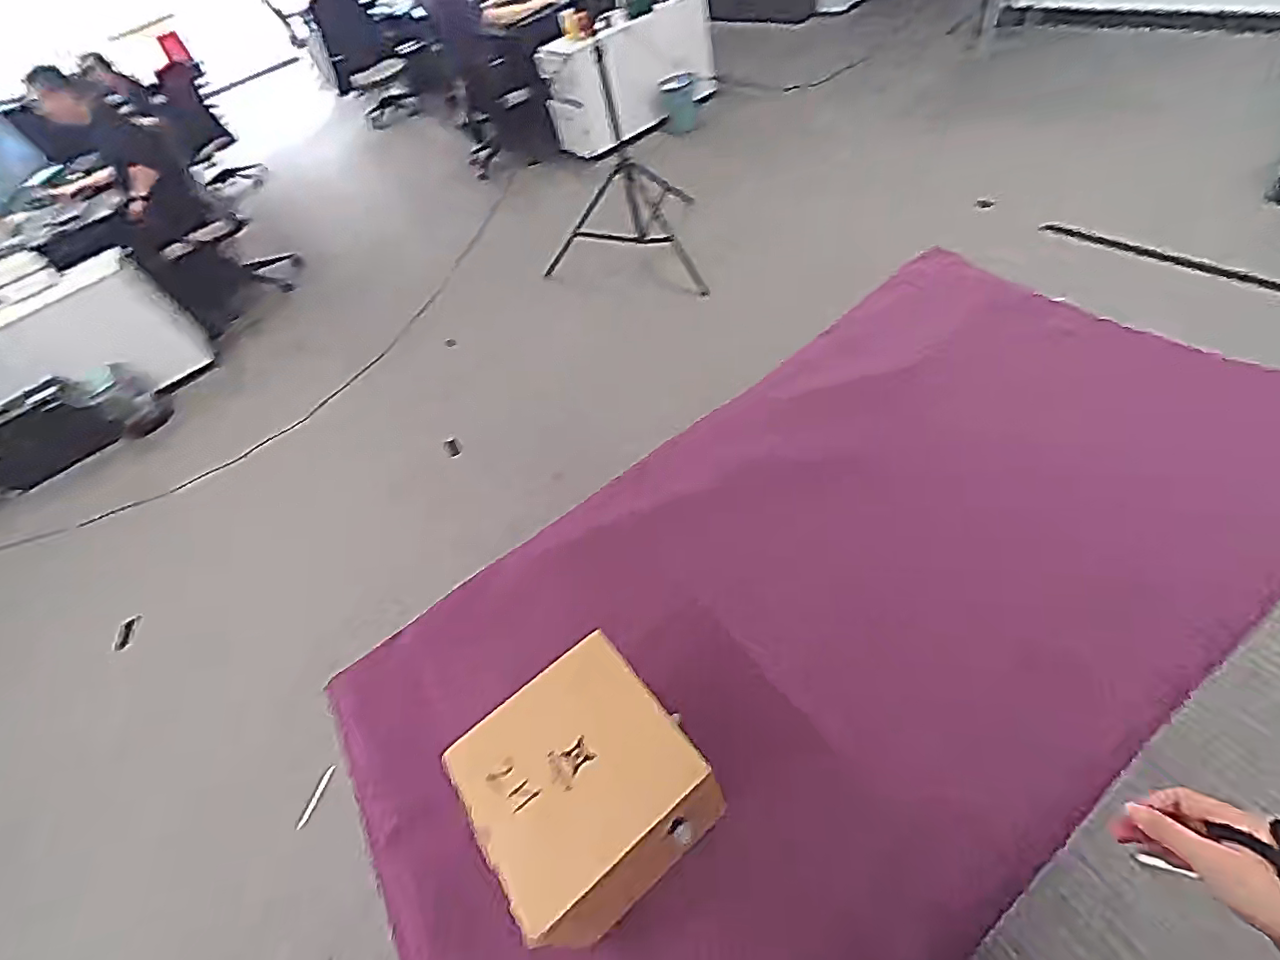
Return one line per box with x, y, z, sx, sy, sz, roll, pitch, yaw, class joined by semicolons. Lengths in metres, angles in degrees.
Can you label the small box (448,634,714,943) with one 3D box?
-0.043;0.290;0.515;0.179;0.176;0.168;-36;50;-16;small box
